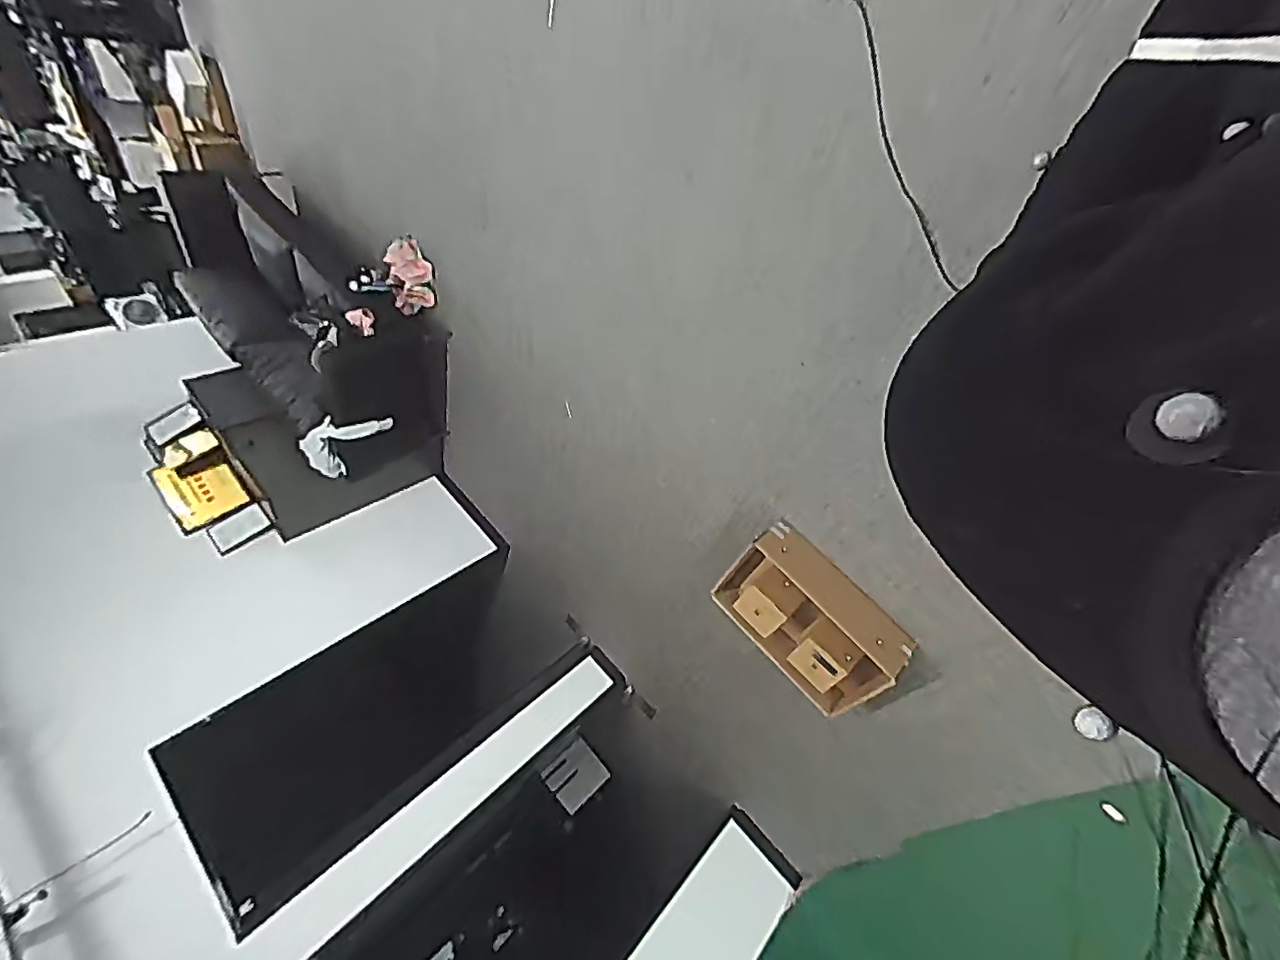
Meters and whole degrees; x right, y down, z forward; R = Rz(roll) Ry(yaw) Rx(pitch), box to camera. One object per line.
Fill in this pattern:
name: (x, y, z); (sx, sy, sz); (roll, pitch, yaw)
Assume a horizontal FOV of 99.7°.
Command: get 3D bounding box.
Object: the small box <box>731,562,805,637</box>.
small box: (0.472, 0.436, 1.980); (0.168, 0.176, 0.179); (44, 139, 17)
